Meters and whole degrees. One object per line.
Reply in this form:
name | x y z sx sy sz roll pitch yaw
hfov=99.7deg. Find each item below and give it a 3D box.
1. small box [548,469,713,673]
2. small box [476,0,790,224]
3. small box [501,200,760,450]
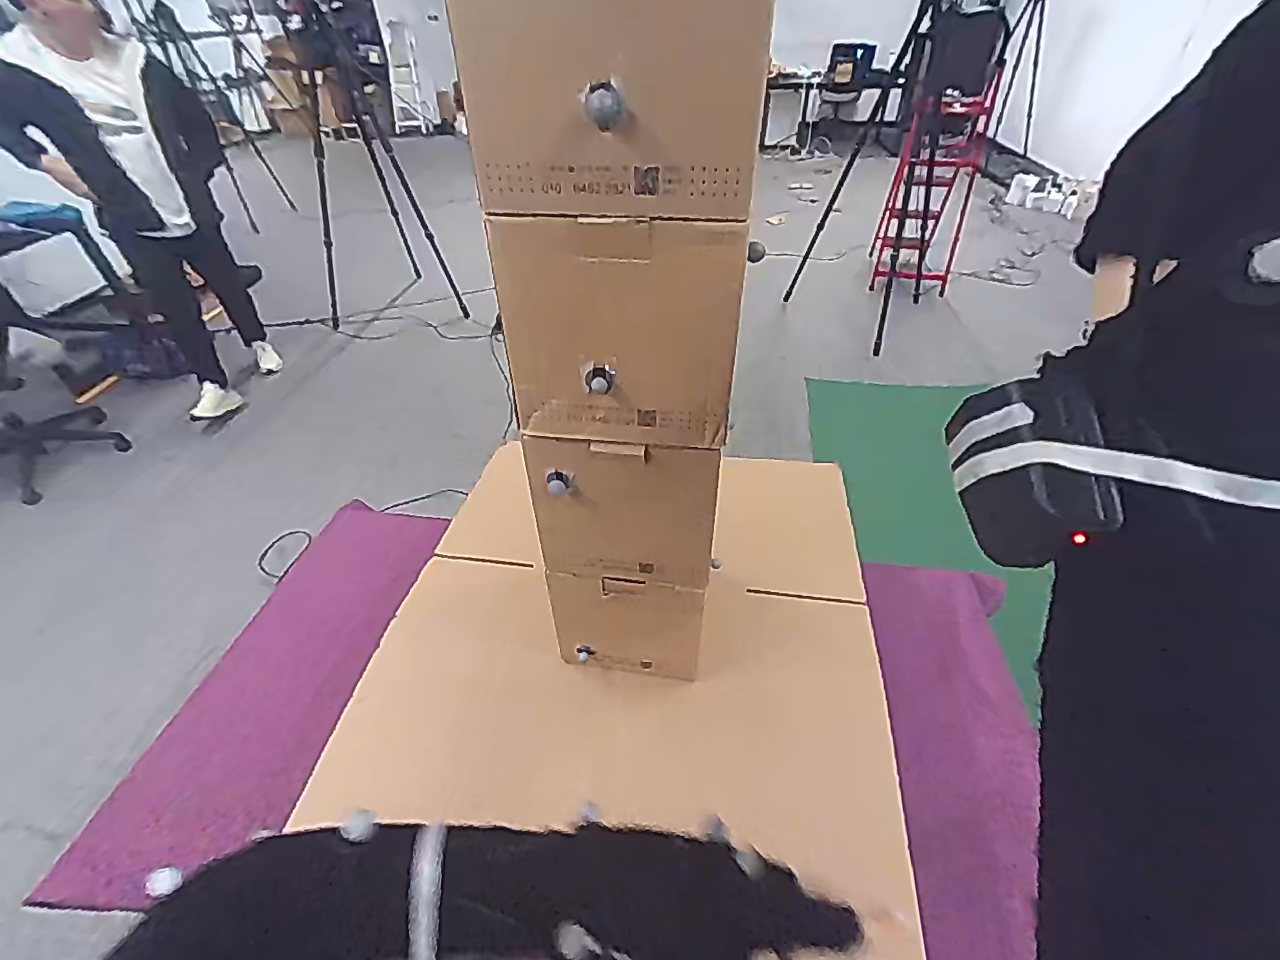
small box | -0.001 0.109 0.649 0.168 0.176 0.179 4 42 5
small box | 0.002 -0.275 0.341 0.168 0.176 0.179 5 40 6
small box | 0.001 -0.146 0.444 0.168 0.176 0.179 5 40 5
